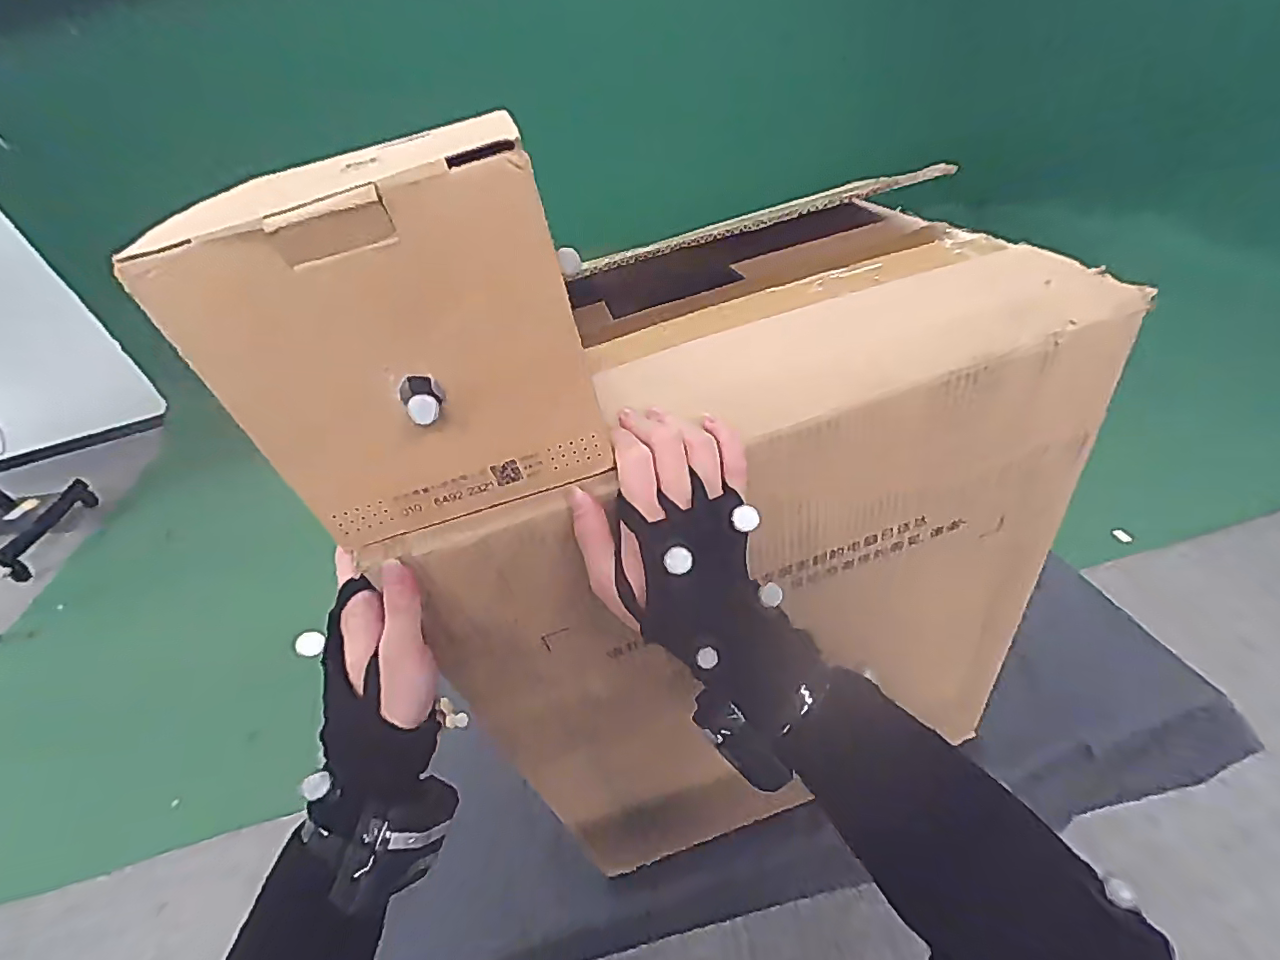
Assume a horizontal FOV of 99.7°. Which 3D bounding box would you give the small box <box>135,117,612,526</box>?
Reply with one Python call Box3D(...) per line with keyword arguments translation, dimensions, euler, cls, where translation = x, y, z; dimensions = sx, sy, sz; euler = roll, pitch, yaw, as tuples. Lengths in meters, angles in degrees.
Box3D(translation=(-0.124, -0.092, 0.328), dimensions=(0.168, 0.176, 0.179), euler=(-17, 41, -3), cls="small box")
